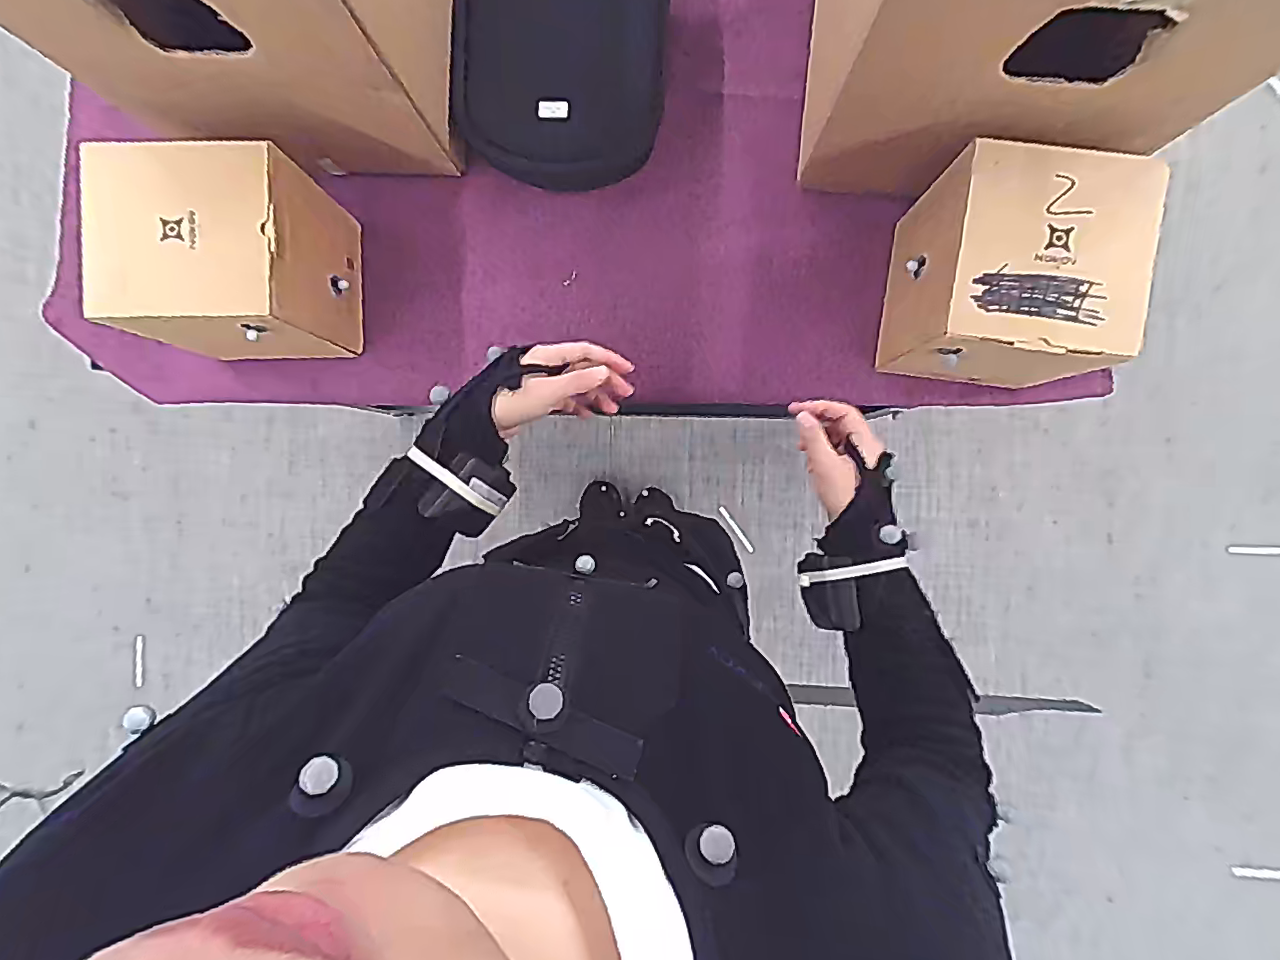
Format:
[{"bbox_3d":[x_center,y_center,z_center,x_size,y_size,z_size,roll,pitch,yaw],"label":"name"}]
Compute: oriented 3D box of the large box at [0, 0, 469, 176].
[{"bbox_3d":[-0.364,-0.569,0.515,0.320,0.320,0.408,1,94,2],"label":"large box"}]
